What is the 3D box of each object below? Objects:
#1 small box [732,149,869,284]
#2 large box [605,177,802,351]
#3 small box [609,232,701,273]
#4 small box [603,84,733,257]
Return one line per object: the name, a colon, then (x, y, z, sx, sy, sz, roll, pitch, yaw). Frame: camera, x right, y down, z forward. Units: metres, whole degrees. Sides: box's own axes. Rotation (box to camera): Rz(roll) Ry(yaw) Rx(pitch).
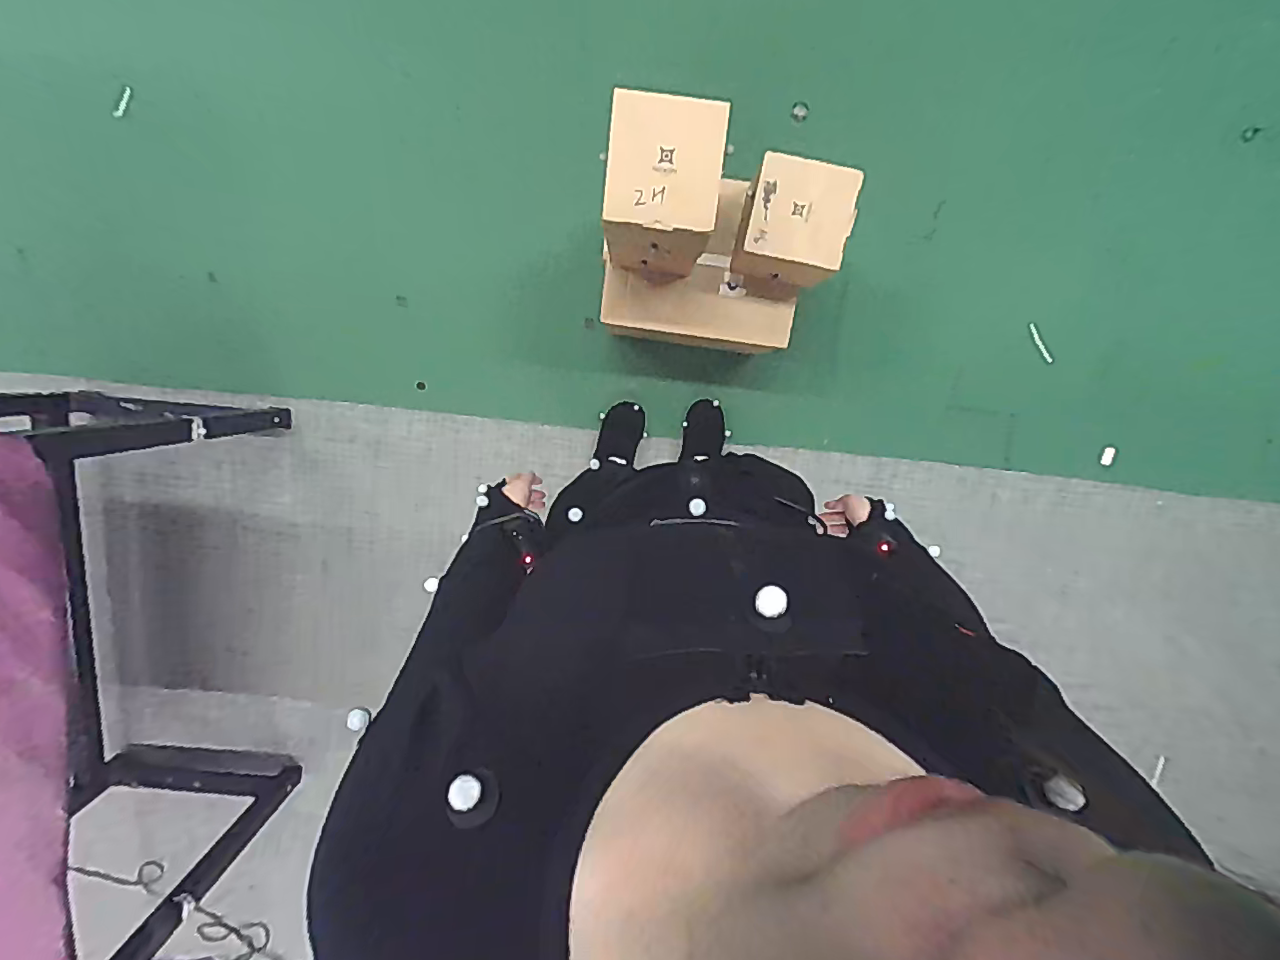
small box: (0.284, -0.471, 0.995, 0.179, 0.176, 0.168, 12, 100, -1)
large box: (0.138, -0.480, 1.245, 0.408, 0.320, 0.320, 7, 102, -1)
small box: (0.036, -0.497, 0.996, 0.168, 0.176, 0.179, 7, 101, -1)
small box: (0.037, -0.463, 0.835, 0.168, 0.176, 0.179, 7, 101, -1)
